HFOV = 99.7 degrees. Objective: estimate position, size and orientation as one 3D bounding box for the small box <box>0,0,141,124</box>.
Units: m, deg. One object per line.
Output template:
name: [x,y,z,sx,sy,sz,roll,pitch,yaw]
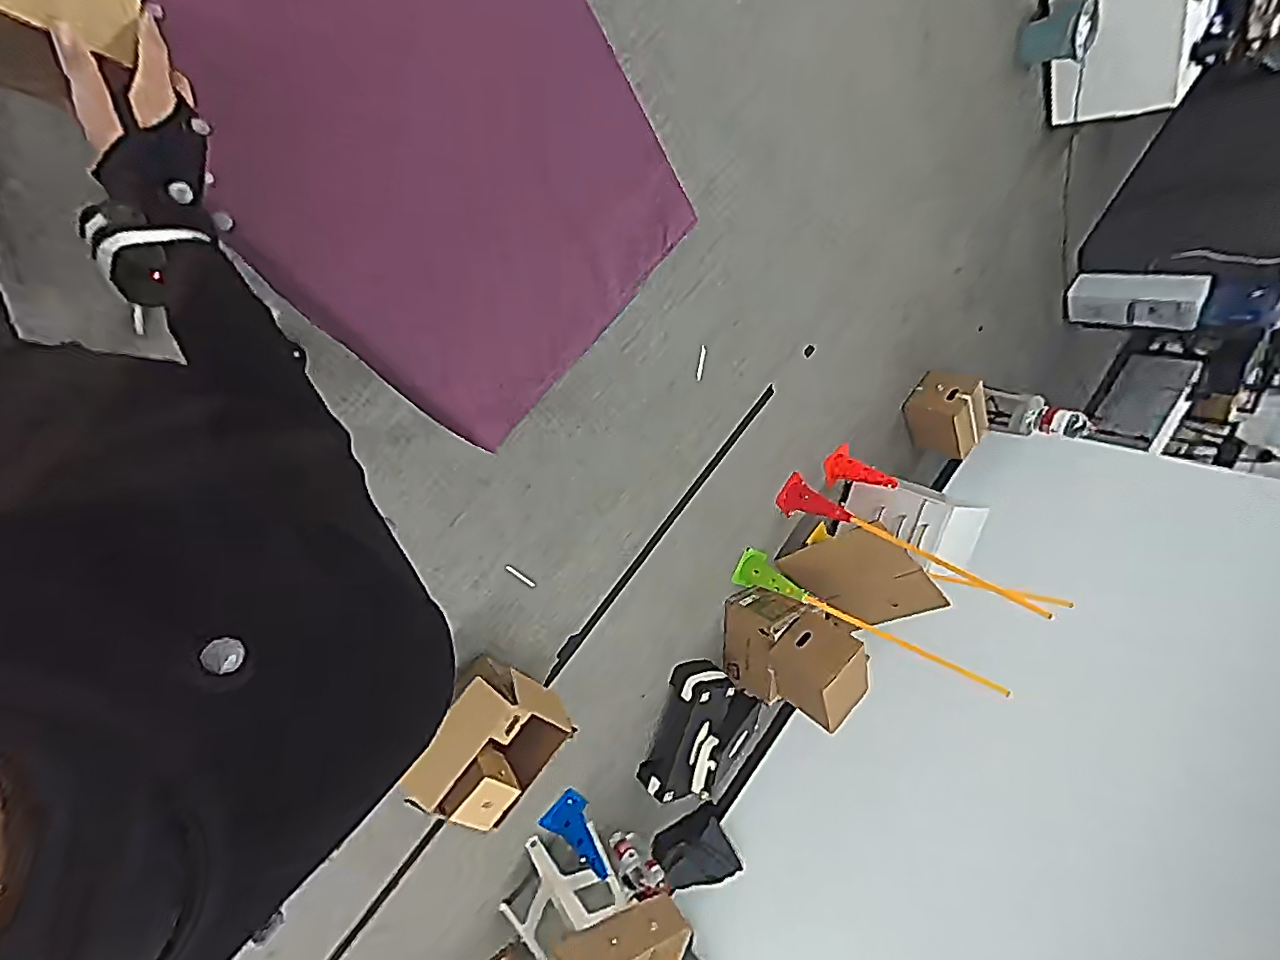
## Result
small box: [-0.520,-0.436,0.440,0.168,0.176,0.179,5,93,-48]
